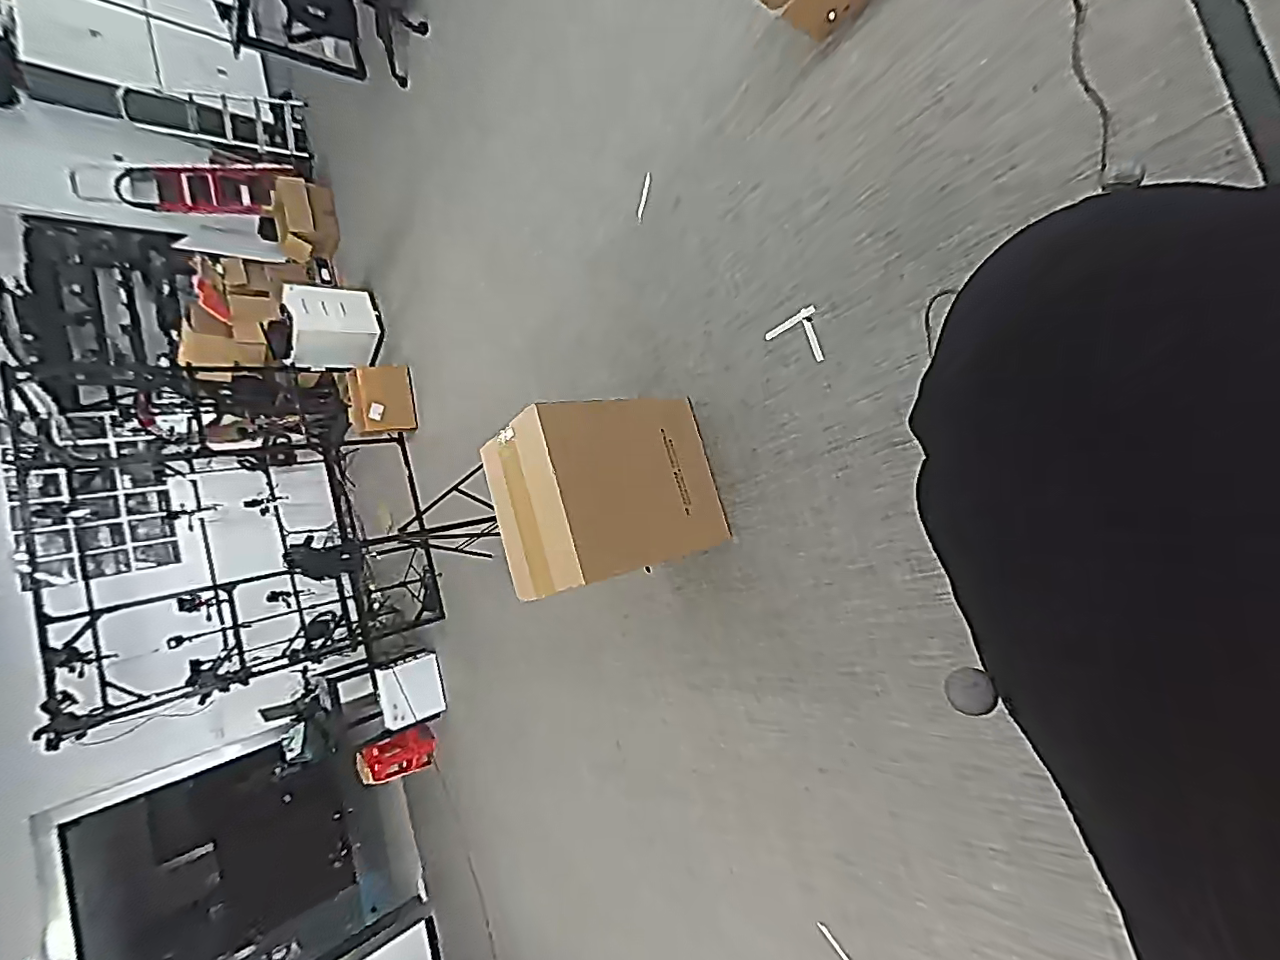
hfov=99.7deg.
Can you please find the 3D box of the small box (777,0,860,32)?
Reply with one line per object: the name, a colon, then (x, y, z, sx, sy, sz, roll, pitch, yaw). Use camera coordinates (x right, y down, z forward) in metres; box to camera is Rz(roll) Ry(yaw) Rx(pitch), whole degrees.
small box: (0.428, -1.223, 1.276, 0.168, 0.176, 0.179, -12, 90, 50)
